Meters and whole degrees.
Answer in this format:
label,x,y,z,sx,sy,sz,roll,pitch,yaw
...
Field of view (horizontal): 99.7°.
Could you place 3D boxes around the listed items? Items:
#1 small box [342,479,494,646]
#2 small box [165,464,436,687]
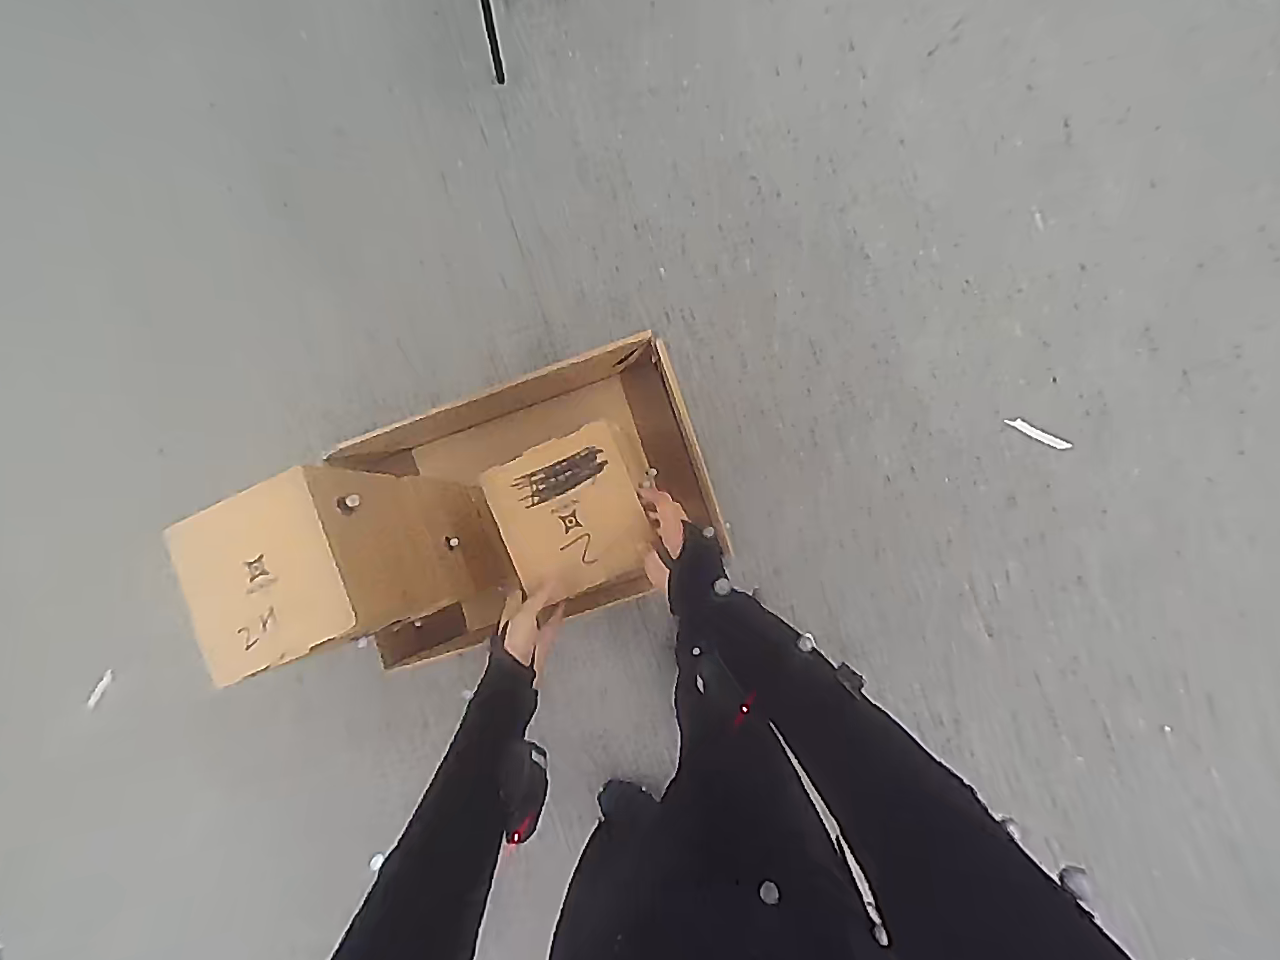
label,x,y,z,sx,sy,sz,roll,pitch,yaw
small box,-0.333,0.108,0.773,0.168,0.176,0.179,-22,85,5
small box,-0.365,0.099,0.610,0.168,0.176,0.179,-24,85,5
